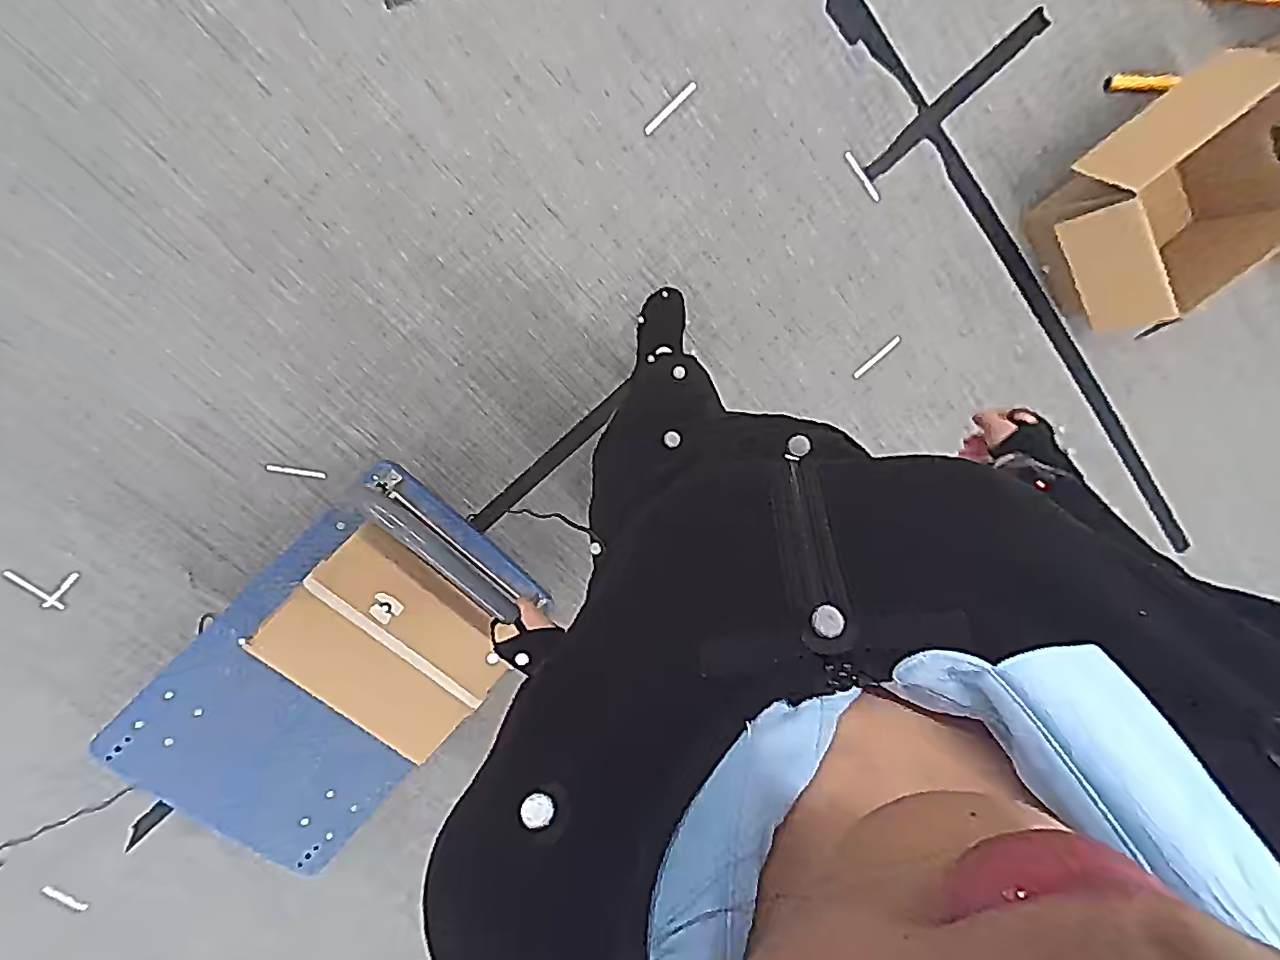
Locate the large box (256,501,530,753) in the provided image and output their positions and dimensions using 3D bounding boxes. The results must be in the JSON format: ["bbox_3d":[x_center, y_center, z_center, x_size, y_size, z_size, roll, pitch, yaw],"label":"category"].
[{"bbox_3d":[-0.506,0.299,1.196,0.408,0.320,0.320,44,80,-15],"label":"large box"}]
